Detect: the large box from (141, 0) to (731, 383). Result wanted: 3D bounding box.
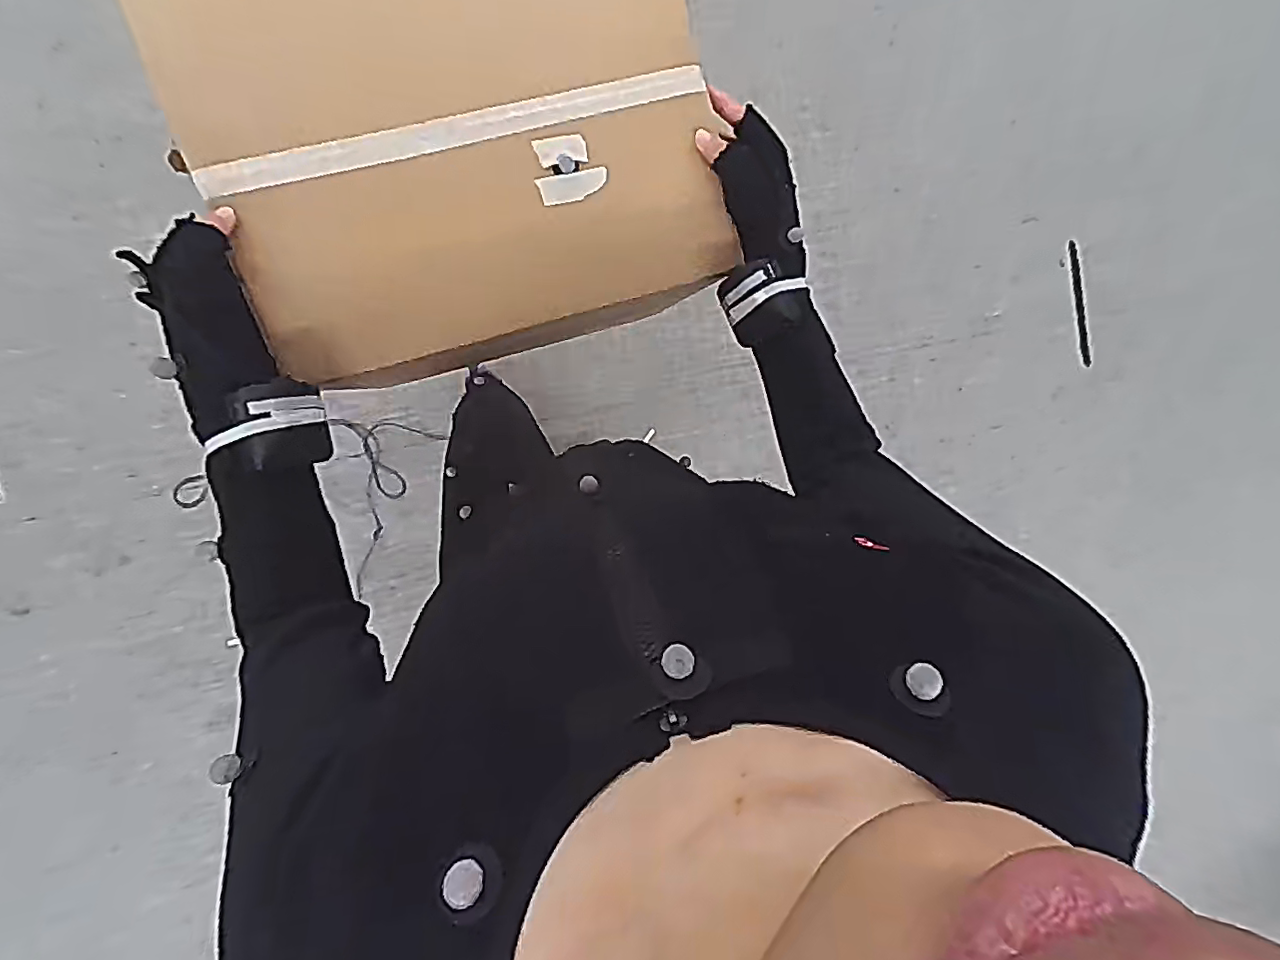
[{"bbox_3d":[-0.173,-0.314,0.592,0.408,0.320,0.320,-19,104,-10],"label":"large box"}]
